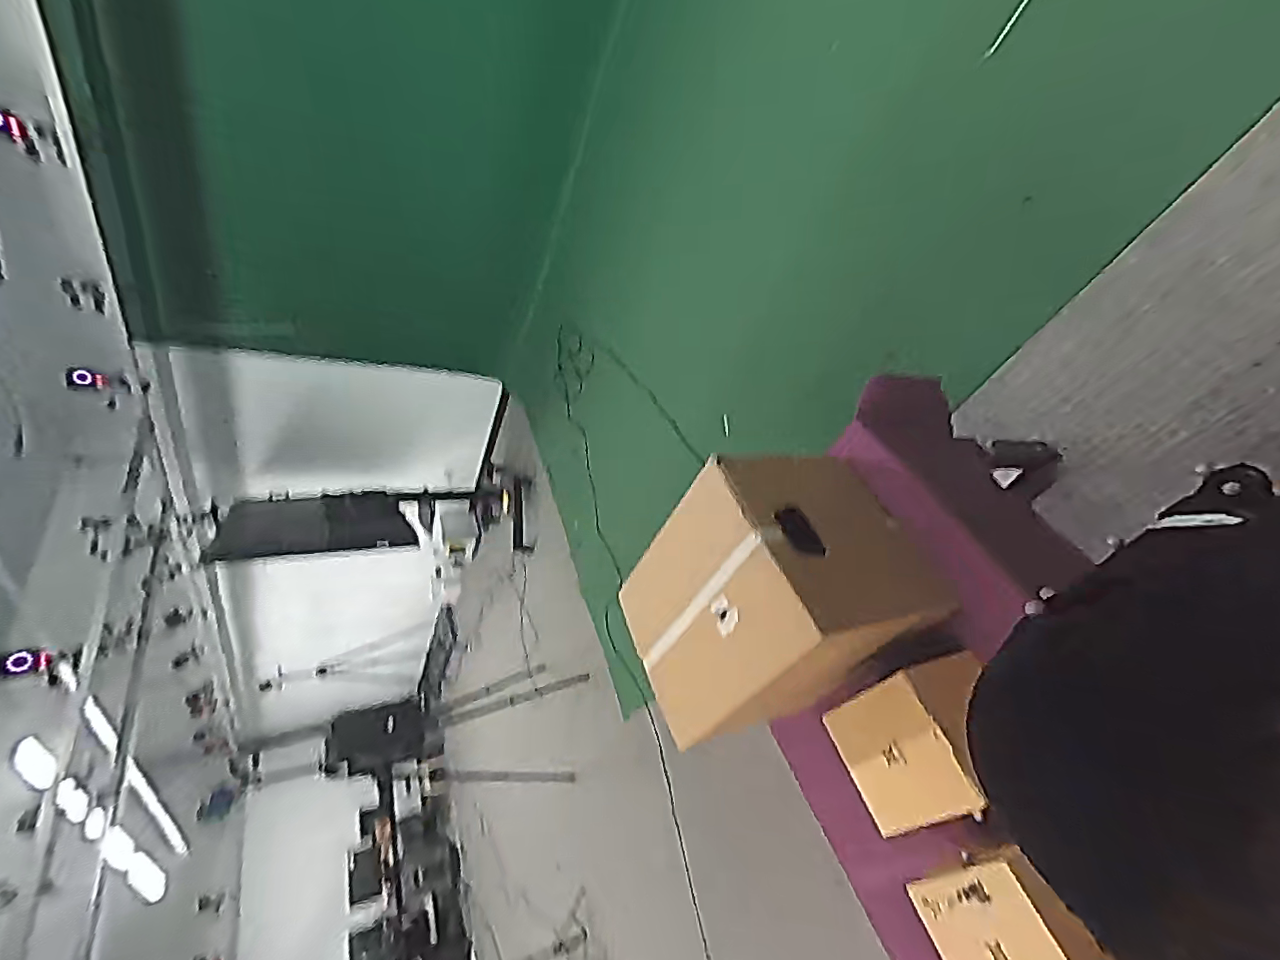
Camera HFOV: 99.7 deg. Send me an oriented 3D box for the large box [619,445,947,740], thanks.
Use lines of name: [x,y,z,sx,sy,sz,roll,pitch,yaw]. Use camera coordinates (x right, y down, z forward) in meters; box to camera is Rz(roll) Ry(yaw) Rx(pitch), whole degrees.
large box: [0.215,0.194,0.945,0.408,0.320,0.320,-58,45,38]
